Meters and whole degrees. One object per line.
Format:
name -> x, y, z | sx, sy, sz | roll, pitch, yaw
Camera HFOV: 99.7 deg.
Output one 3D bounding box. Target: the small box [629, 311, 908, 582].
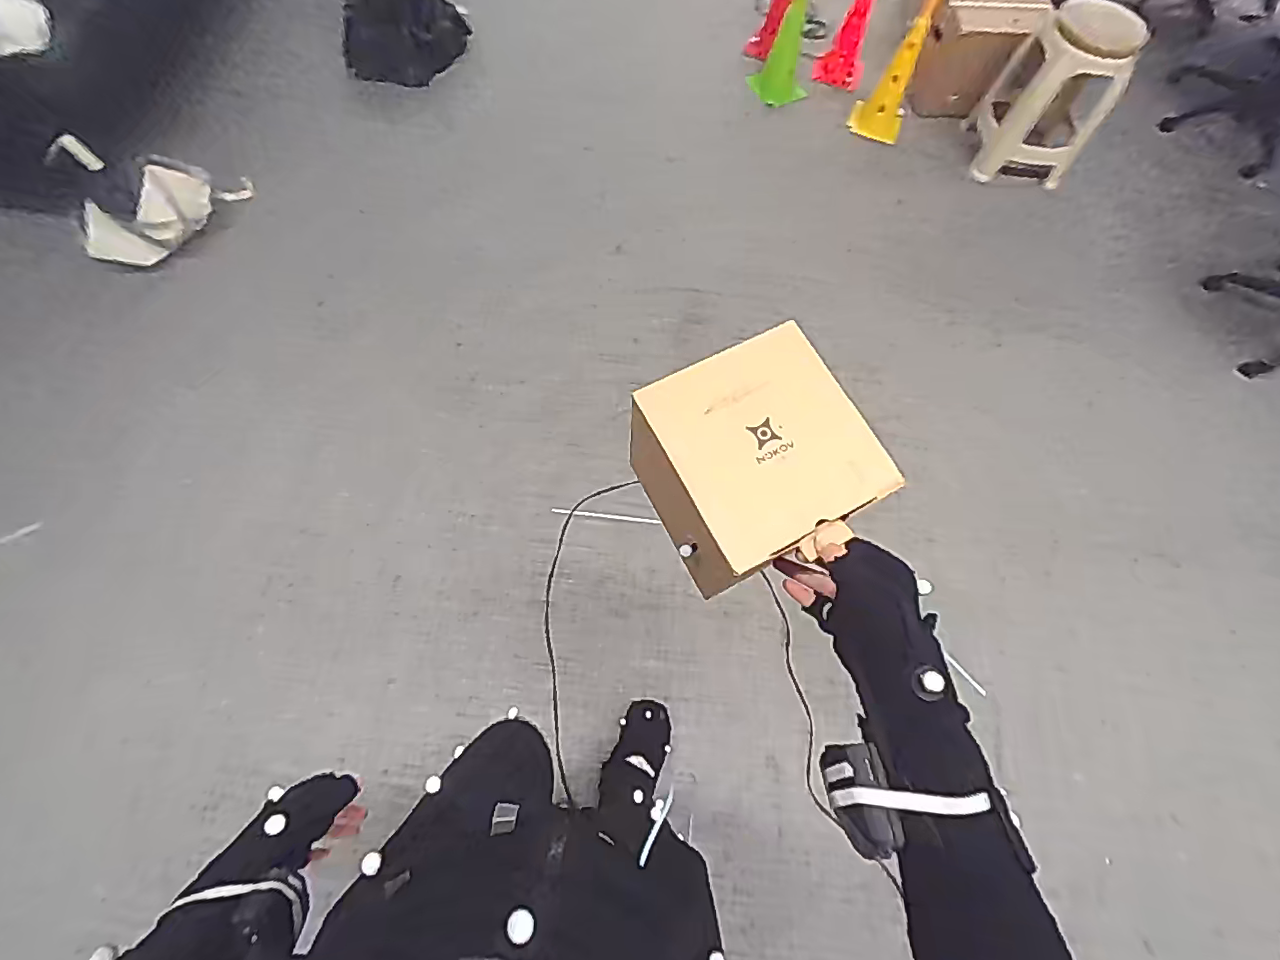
small box -> 0.102, -0.016, 0.511 | 0.168, 0.176, 0.179 | -27, 74, -10
